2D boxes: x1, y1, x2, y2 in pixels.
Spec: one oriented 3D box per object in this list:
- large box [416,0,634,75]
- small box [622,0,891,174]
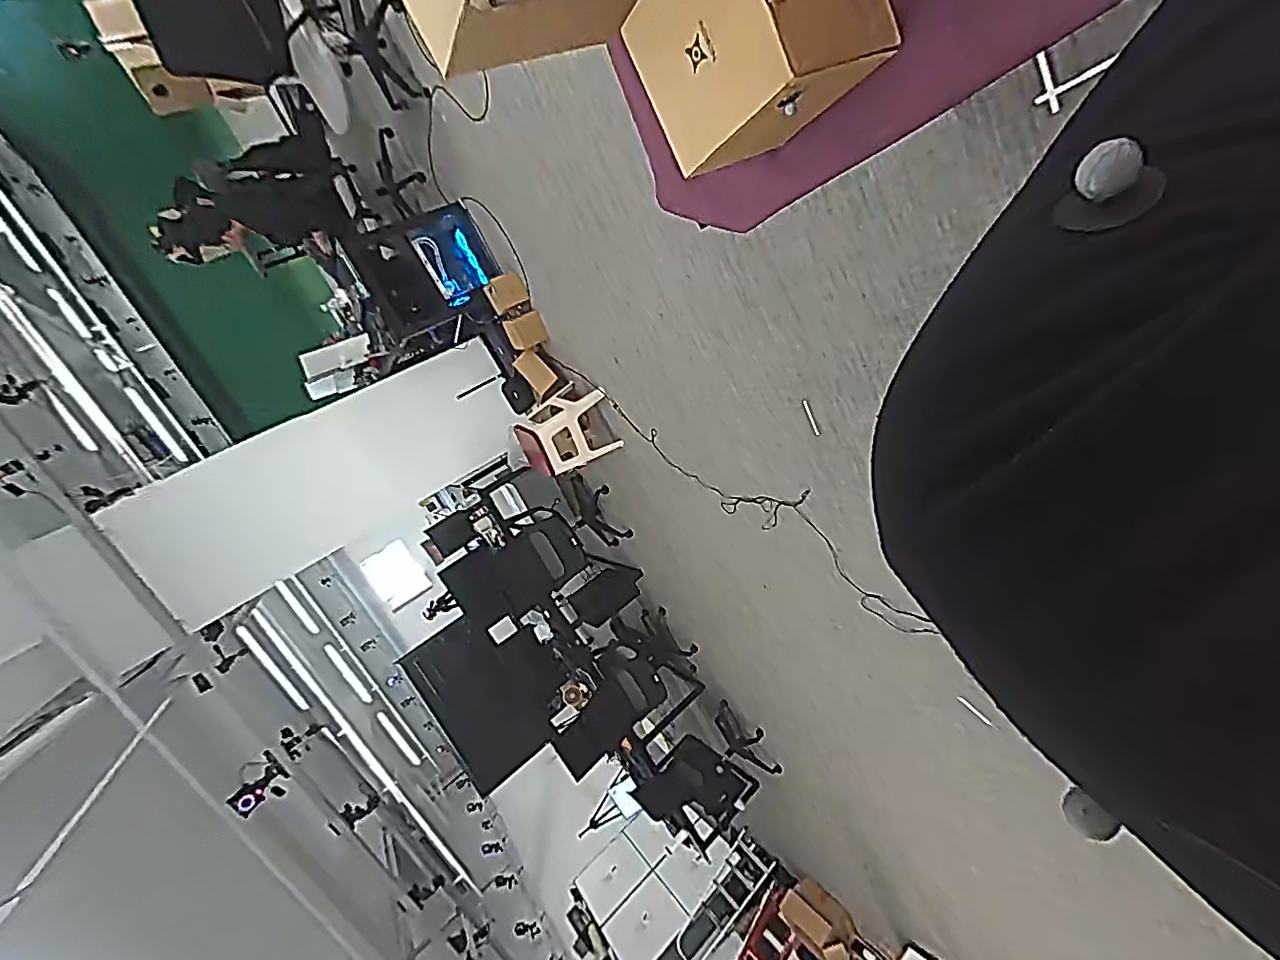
[{"bbox_3d":[-0.120,-0.707,0.498,0.408,0.320,0.320,59,154,-15],"label":"large box"},{"bbox_3d":[0.116,-0.458,0.558,0.179,0.176,0.168,-5,116,62],"label":"small box"}]
